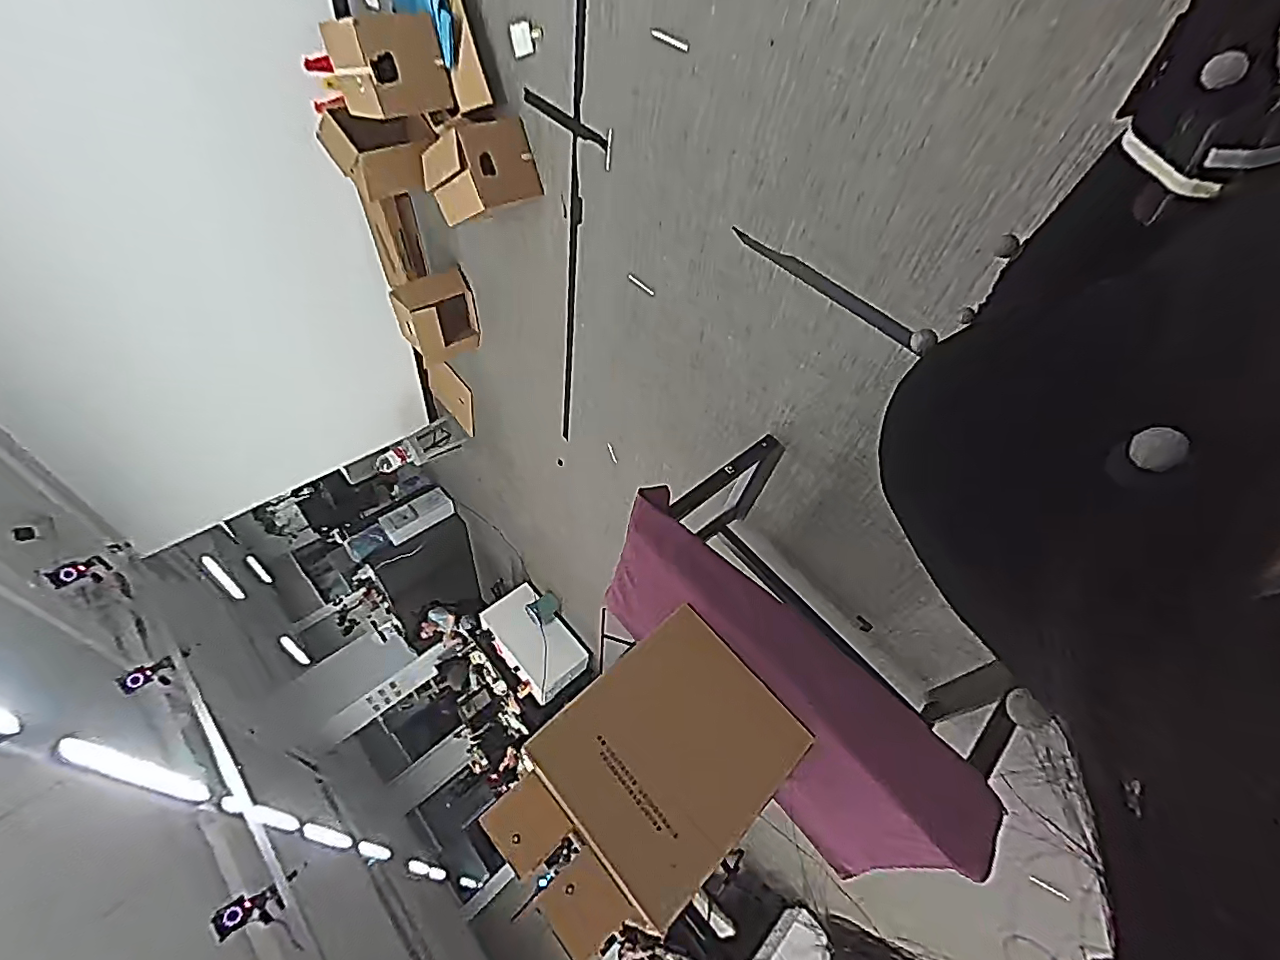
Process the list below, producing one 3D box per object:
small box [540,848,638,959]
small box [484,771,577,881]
[{"bbox_3d":[-0.129,1.045,1.334,0.179,0.176,0.168,43,148,23],"label":"small box"},{"bbox_3d":[-0.281,0.907,1.420,0.179,0.176,0.168,42,147,23],"label":"small box"}]
